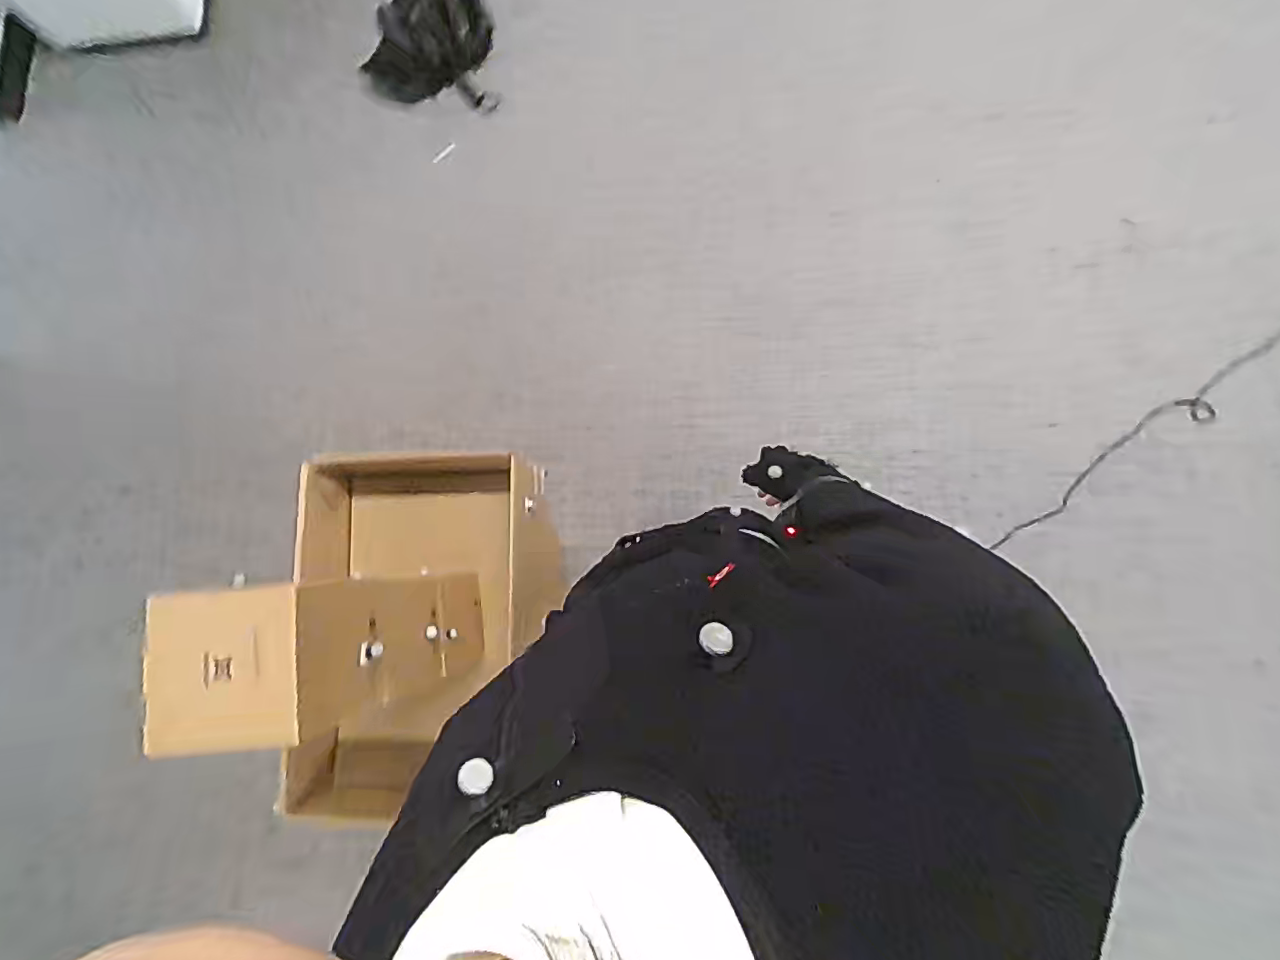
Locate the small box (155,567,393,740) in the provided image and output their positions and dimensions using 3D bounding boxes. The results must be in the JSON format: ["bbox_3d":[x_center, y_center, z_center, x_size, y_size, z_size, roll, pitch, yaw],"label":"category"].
[{"bbox_3d":[-0.429,0.197,0.656,0.179,0.176,0.168,-7,83,4],"label":"small box"}]

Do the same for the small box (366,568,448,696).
[{"bbox_3d":[-0.413,0.224,0.815,0.179,0.176,0.168,-7,82,5],"label":"small box"}]

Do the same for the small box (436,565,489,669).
[{"bbox_3d":[-0.392,0.246,0.976,0.179,0.176,0.168,-8,83,6],"label":"small box"}]
